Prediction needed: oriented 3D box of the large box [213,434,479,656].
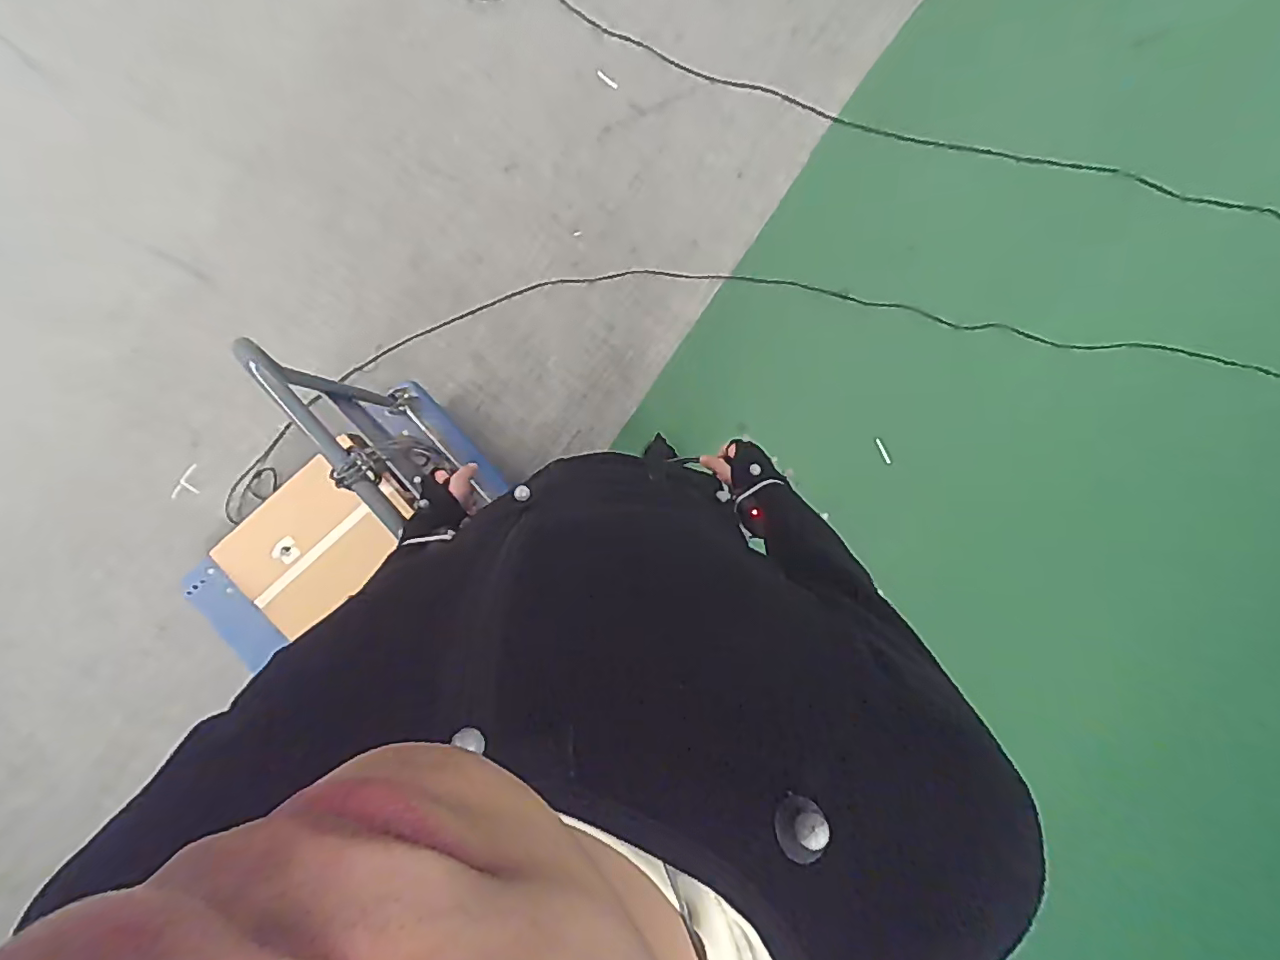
[{"bbox_3d":[-0.672,0.129,1.306,0.408,0.320,0.320,-40,92,3],"label":"large box"}]
